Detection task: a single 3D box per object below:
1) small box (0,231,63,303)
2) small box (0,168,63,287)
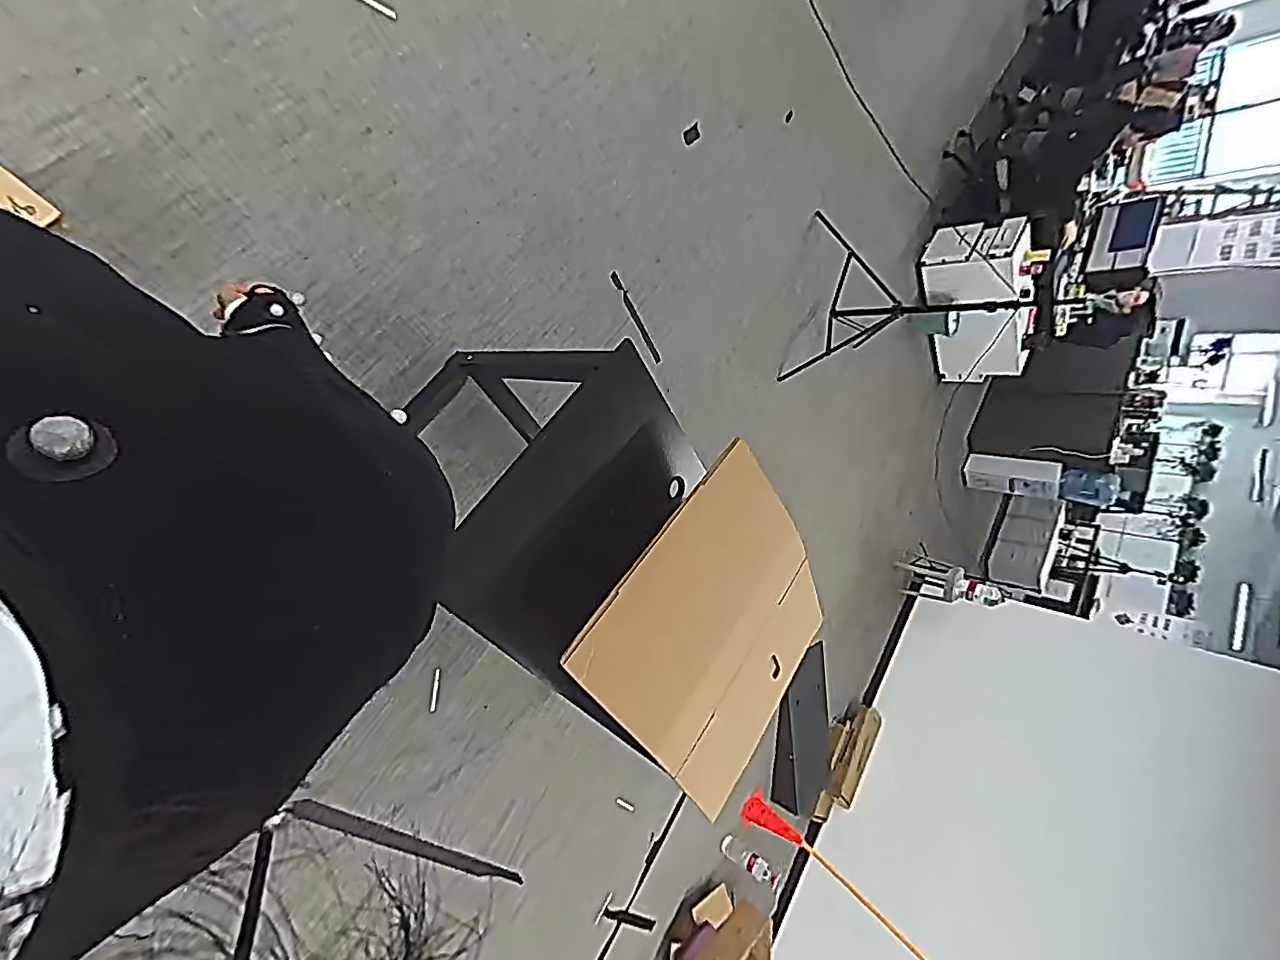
[{"bbox_3d":[-0.988,-0.356,0.774,0.168,0.176,0.179,47,64,-42],"label":"small box"},{"bbox_3d":[-0.873,-0.332,0.659,0.168,0.176,0.179,-58,133,-20],"label":"small box"}]
